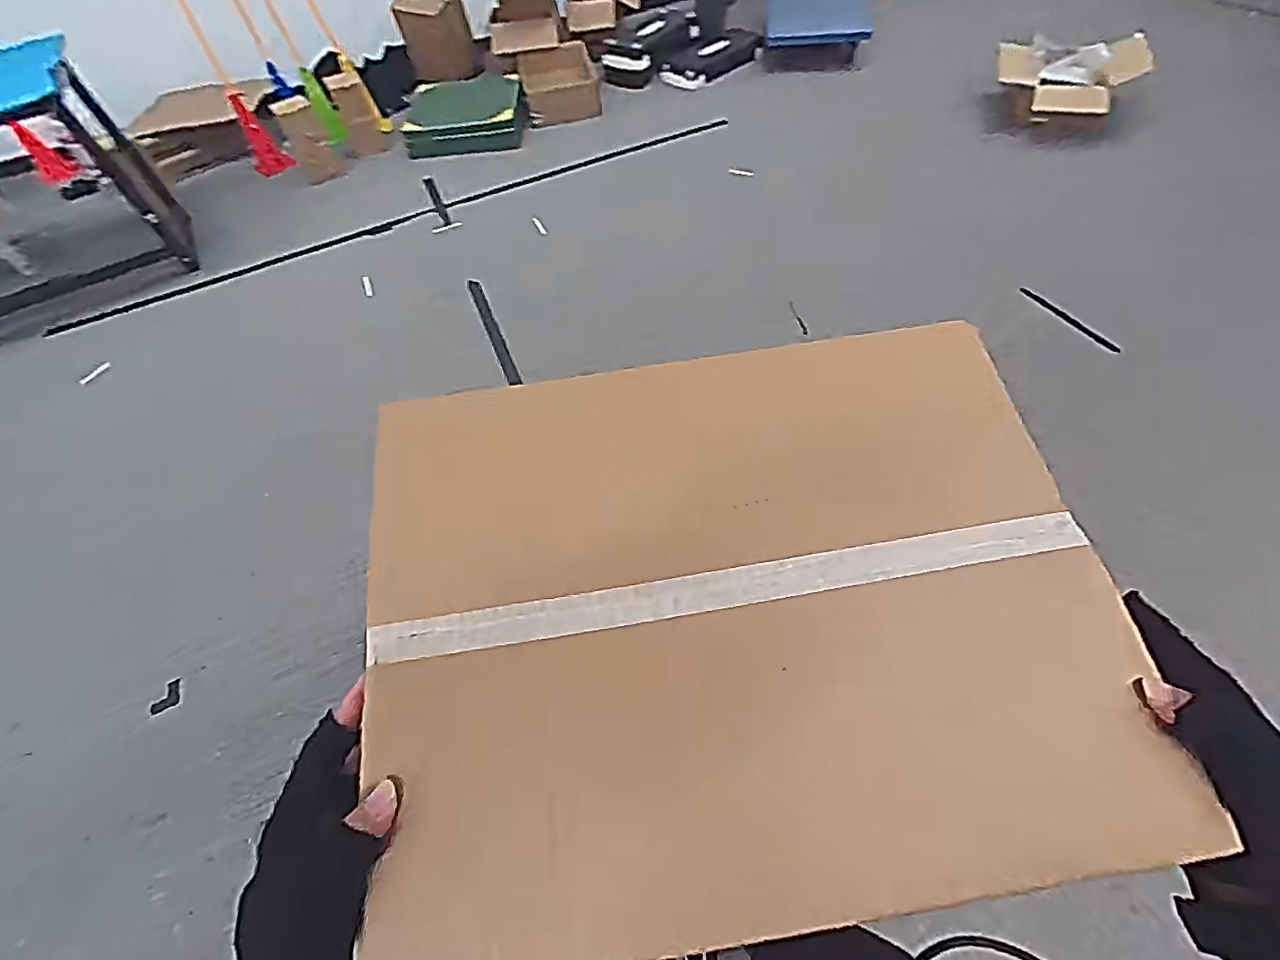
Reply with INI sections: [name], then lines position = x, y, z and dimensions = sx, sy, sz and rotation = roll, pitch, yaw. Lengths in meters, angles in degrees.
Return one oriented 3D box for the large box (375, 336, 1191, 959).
[large box]
position = 0.055, 0.130, 0.447
dimensions = 0.408, 0.320, 0.320
rotation = -10, 65, -2
